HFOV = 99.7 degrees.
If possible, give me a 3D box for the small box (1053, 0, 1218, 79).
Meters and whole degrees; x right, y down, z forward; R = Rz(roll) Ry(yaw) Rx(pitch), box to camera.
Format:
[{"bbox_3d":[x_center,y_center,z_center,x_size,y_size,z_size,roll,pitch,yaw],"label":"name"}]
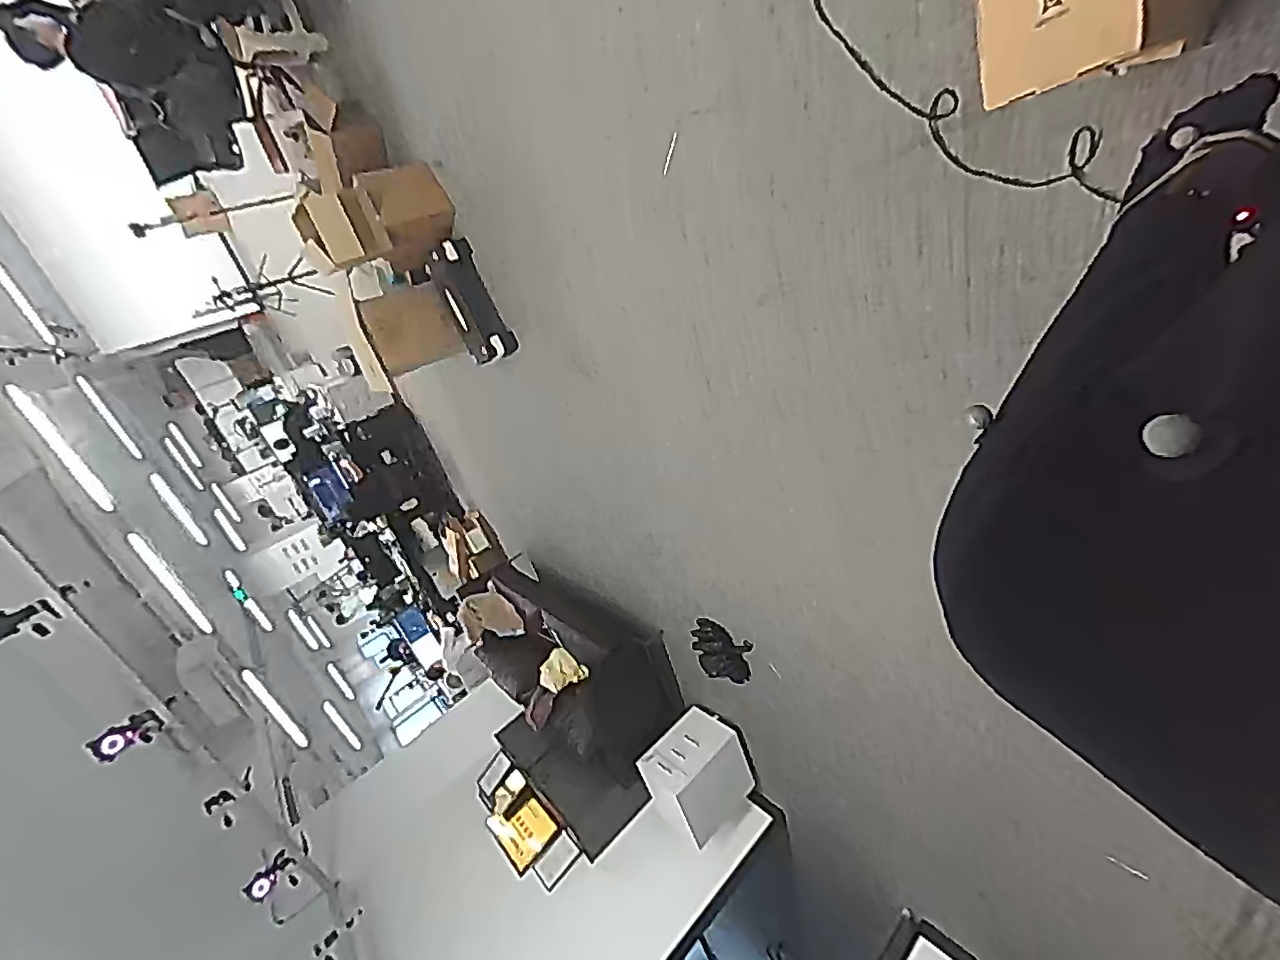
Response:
[{"bbox_3d":[0.792,-0.761,0.851,0.168,0.176,0.179,24,138,44],"label":"small box"}]
